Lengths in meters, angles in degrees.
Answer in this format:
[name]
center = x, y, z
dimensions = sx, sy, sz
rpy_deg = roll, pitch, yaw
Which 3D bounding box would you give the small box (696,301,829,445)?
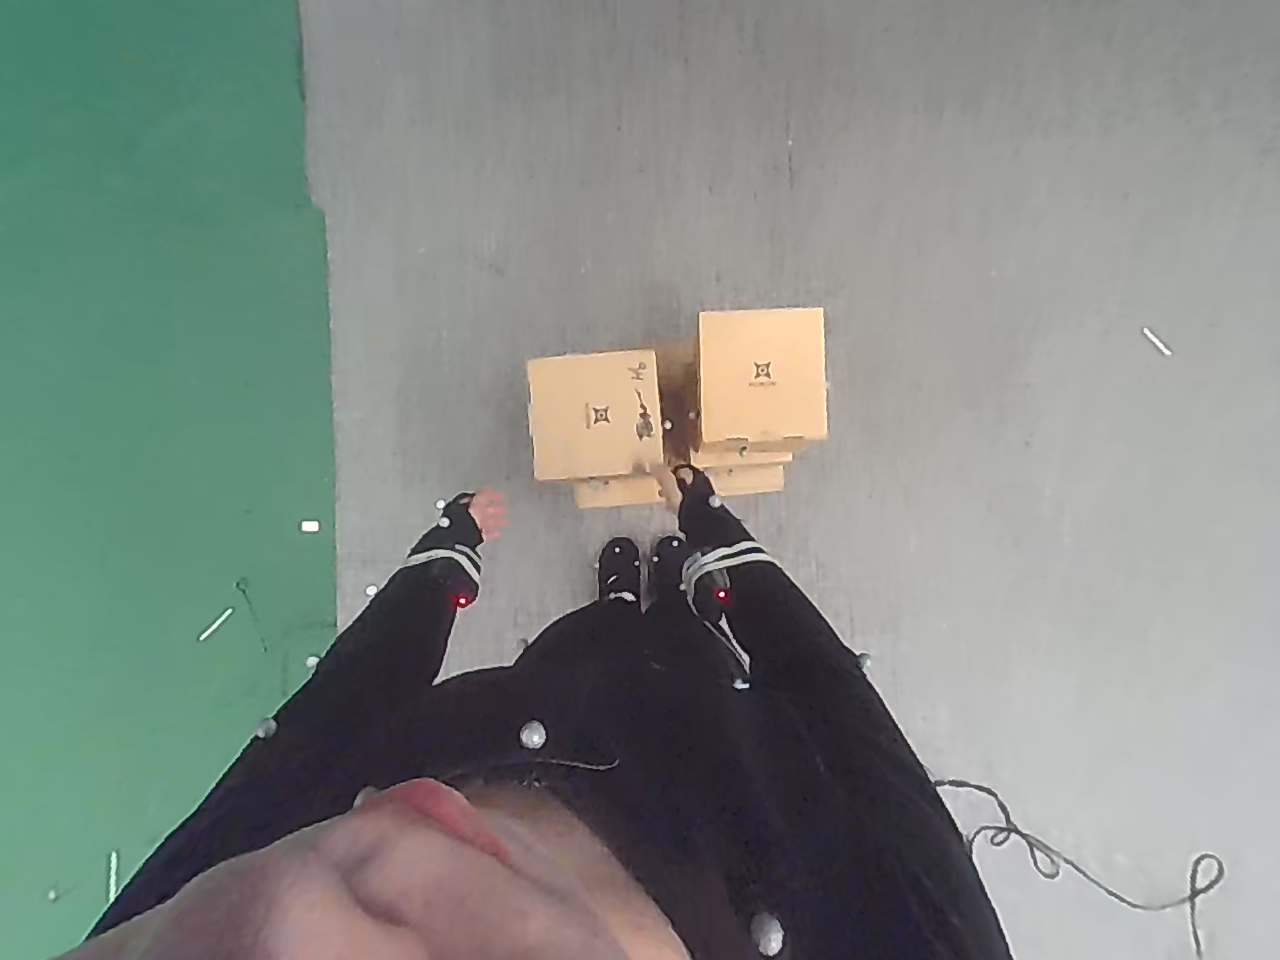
[small box]
center = 0.170, -0.147, 0.797
dimensions = 0.168, 0.176, 0.179
rpy_deg = -1, 88, 3
